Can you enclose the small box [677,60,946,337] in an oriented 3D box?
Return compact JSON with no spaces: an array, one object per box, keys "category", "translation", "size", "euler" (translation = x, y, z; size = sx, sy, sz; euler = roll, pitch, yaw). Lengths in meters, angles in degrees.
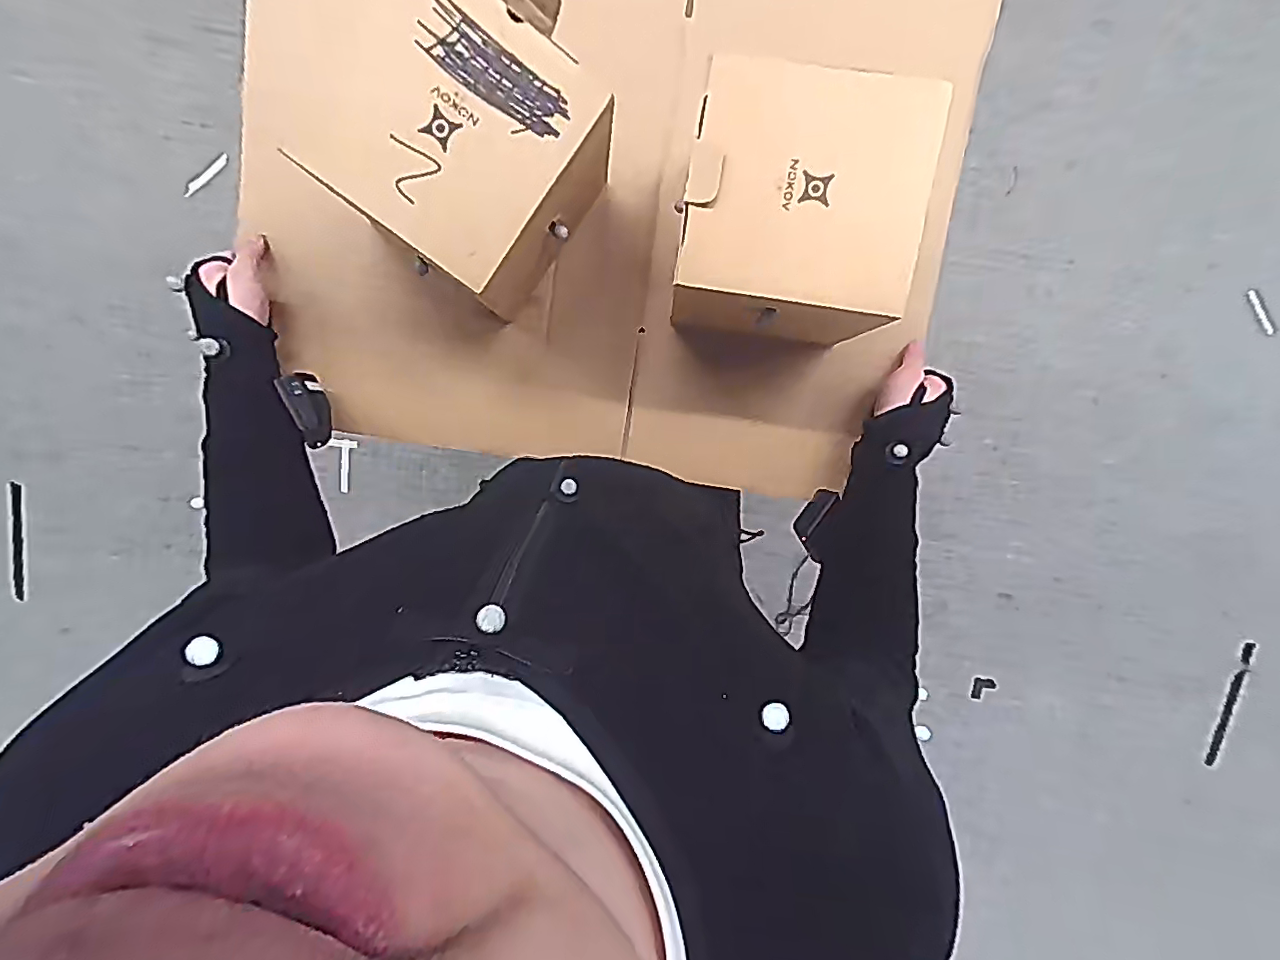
[{"category":"small box","translation":[0.132,-0.230,0.489],"size":[0.179,0.176,0.168],"euler":[9,98,2]}]
